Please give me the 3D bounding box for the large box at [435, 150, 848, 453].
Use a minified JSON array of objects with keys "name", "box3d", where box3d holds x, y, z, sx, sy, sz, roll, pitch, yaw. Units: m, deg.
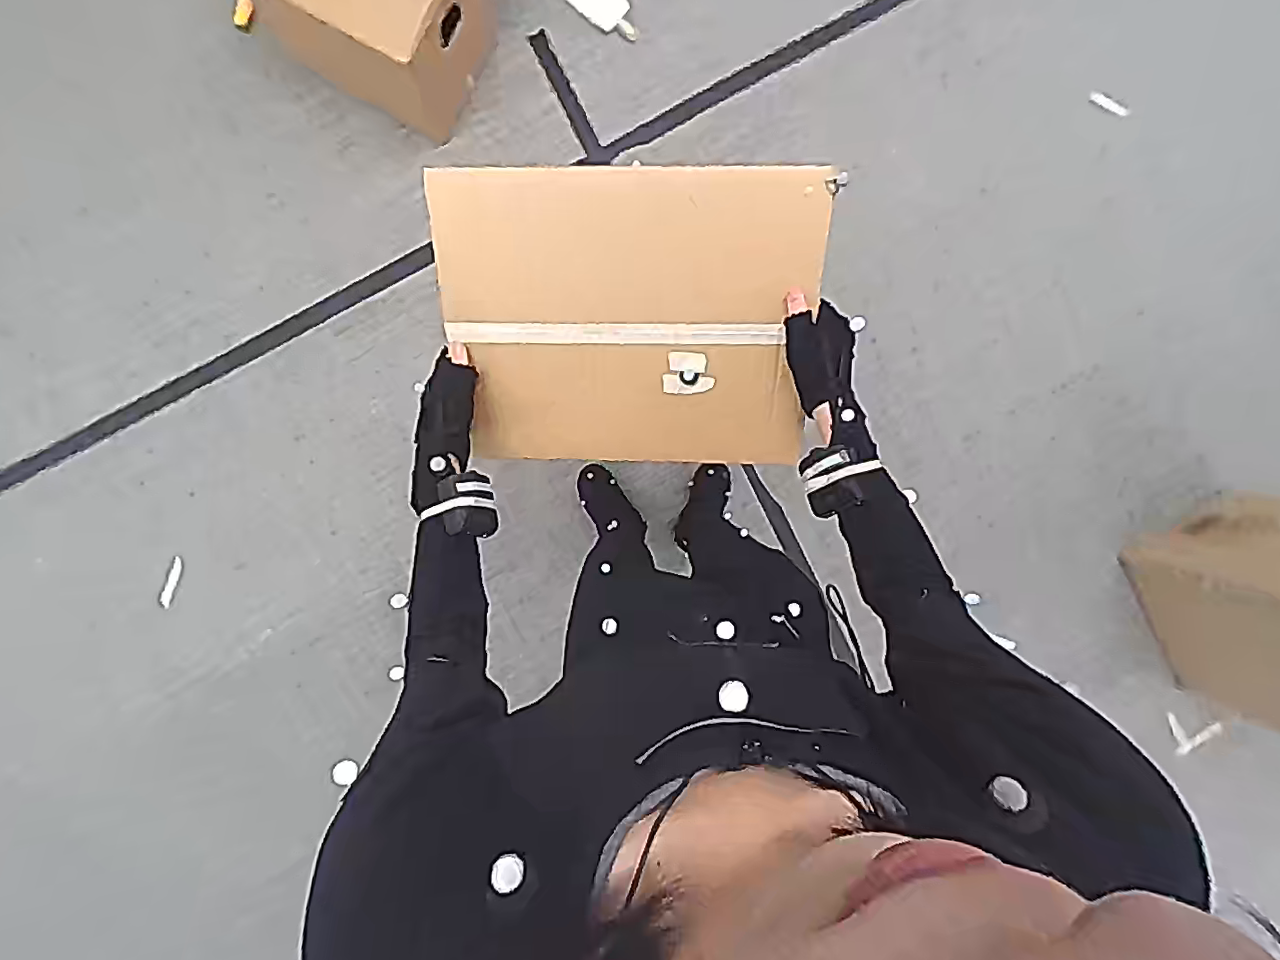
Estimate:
[{"name":"large box","box3d":[0.004,-0.236,0.712,0.408,0.320,0.320,1,117,2]}]
